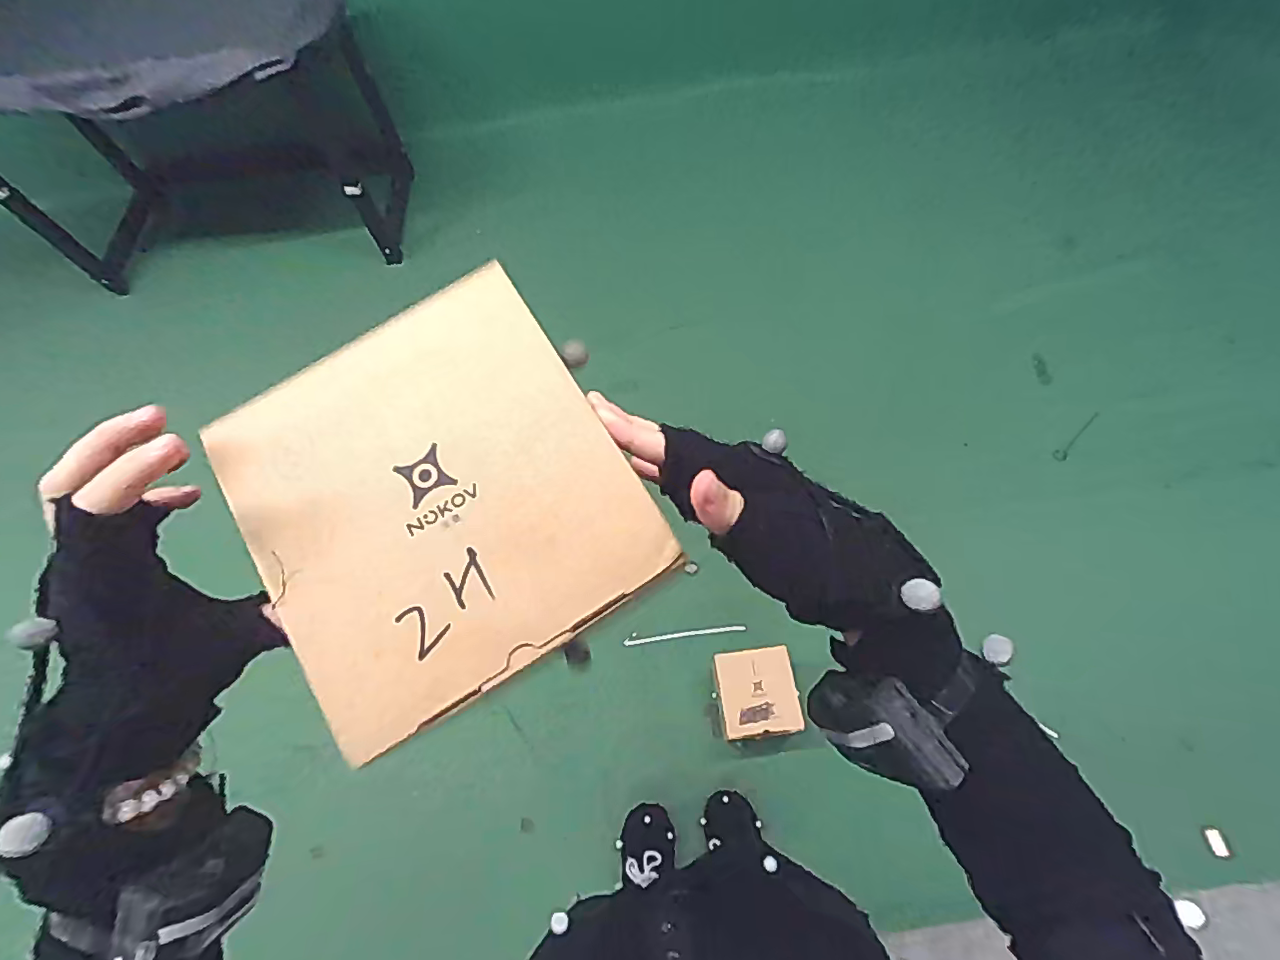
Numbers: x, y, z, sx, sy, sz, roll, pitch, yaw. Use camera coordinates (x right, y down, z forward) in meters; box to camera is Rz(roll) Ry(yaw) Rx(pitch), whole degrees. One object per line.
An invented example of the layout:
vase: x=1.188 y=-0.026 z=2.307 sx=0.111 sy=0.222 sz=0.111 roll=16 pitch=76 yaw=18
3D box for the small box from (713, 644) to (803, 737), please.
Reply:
small box: x=0.264 y=0.491 z=1.250 sx=0.168 sy=0.176 sz=0.179 roll=-8 pitch=62 yaw=1
